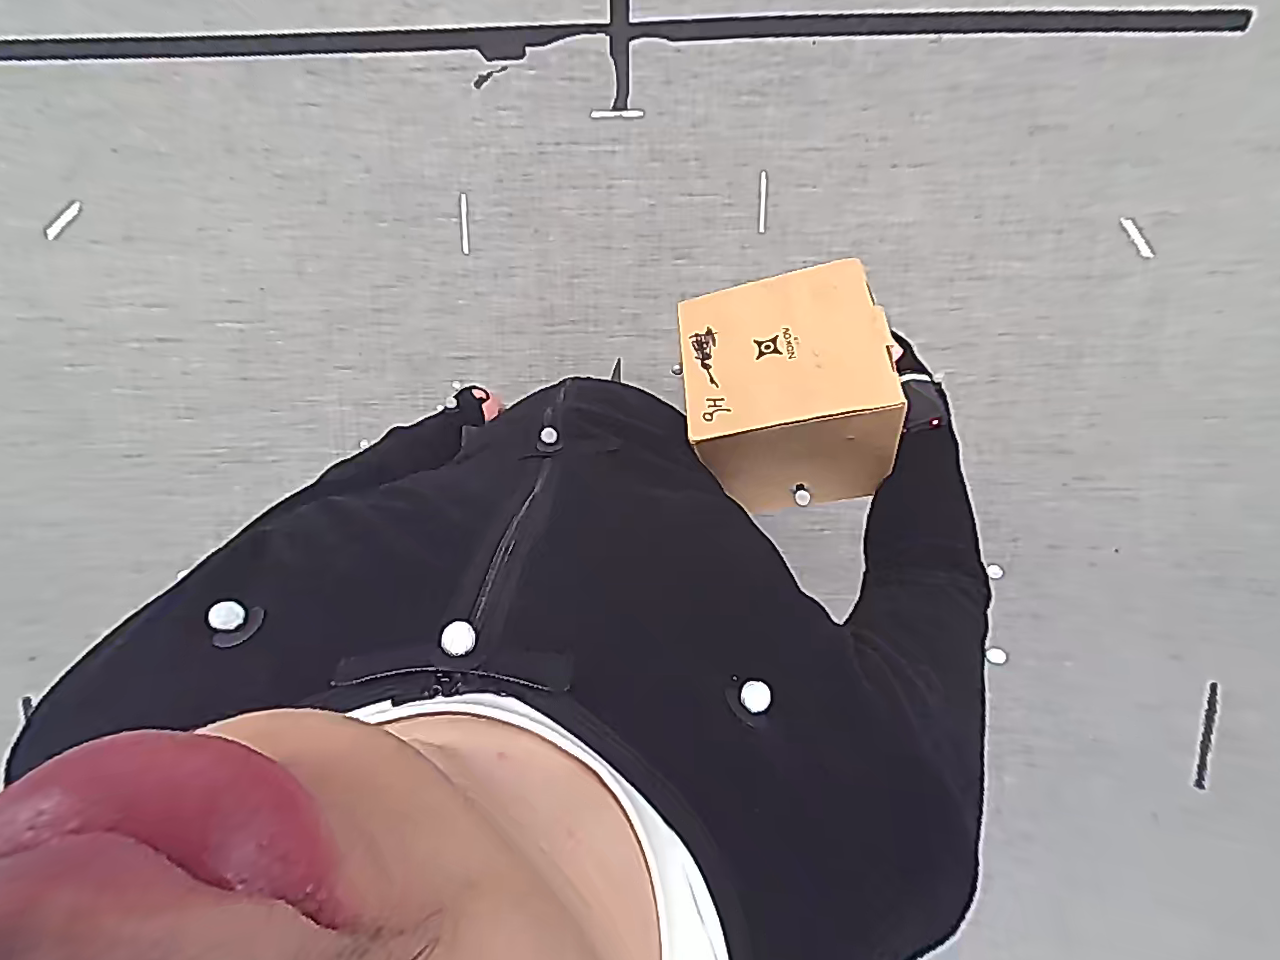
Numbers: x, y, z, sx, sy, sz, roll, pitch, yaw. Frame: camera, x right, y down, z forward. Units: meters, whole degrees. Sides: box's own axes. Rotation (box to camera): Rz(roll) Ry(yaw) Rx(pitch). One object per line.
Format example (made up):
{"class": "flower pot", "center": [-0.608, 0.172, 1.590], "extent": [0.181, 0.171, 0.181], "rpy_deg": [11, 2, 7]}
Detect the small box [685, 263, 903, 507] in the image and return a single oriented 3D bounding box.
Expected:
{"class": "small box", "center": [0.151, -0.086, 0.561], "extent": [0.179, 0.176, 0.168], "rpy_deg": [-9, 60, 14]}
